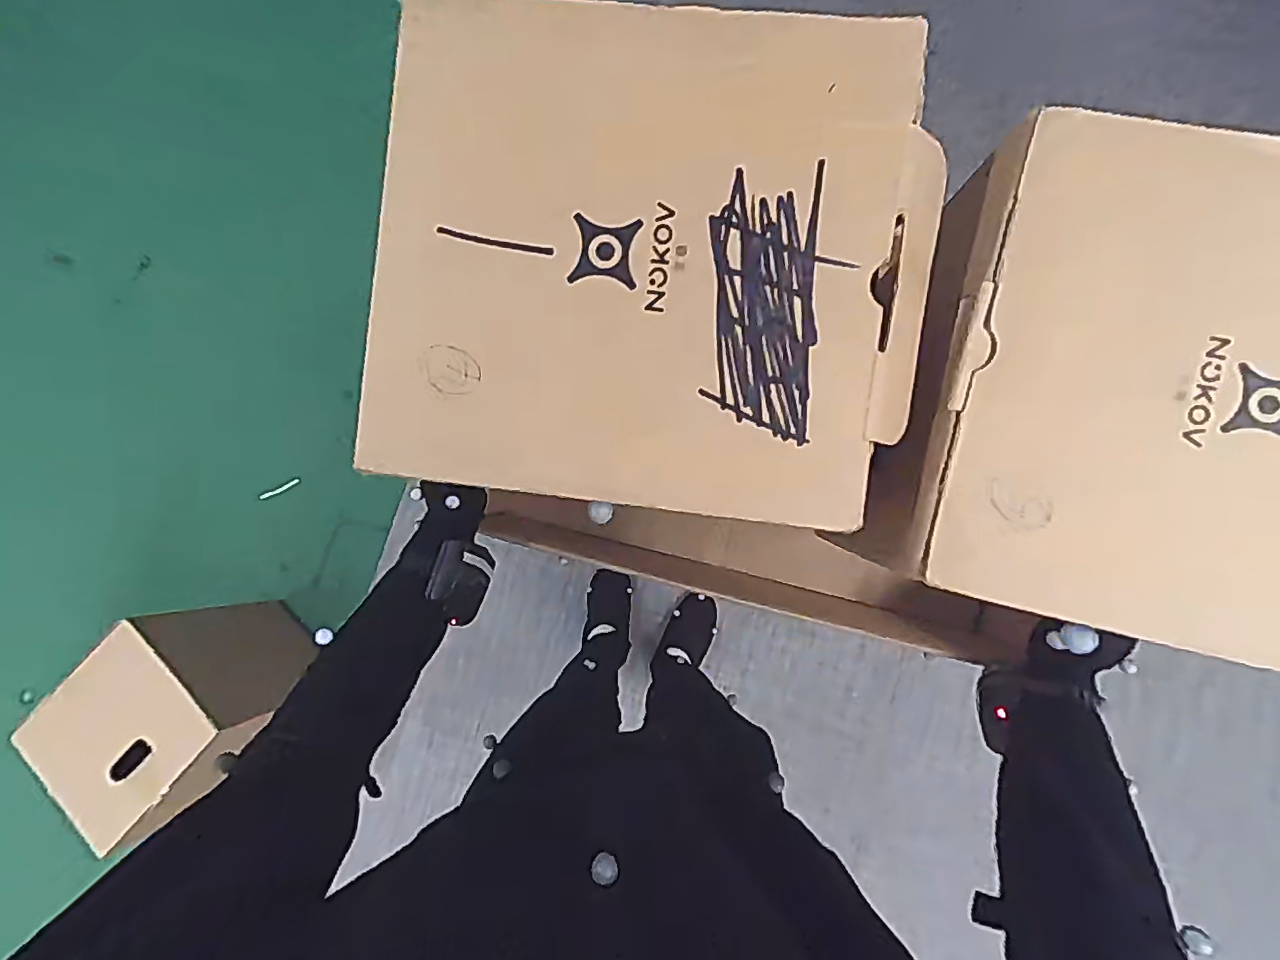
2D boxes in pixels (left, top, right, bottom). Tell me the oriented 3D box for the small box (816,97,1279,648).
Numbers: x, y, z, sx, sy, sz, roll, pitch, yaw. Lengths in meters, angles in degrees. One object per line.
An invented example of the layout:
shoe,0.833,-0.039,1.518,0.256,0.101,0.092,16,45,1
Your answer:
small box,0.200,-0.033,0.258,0.179,0.176,0.168,14,92,6
